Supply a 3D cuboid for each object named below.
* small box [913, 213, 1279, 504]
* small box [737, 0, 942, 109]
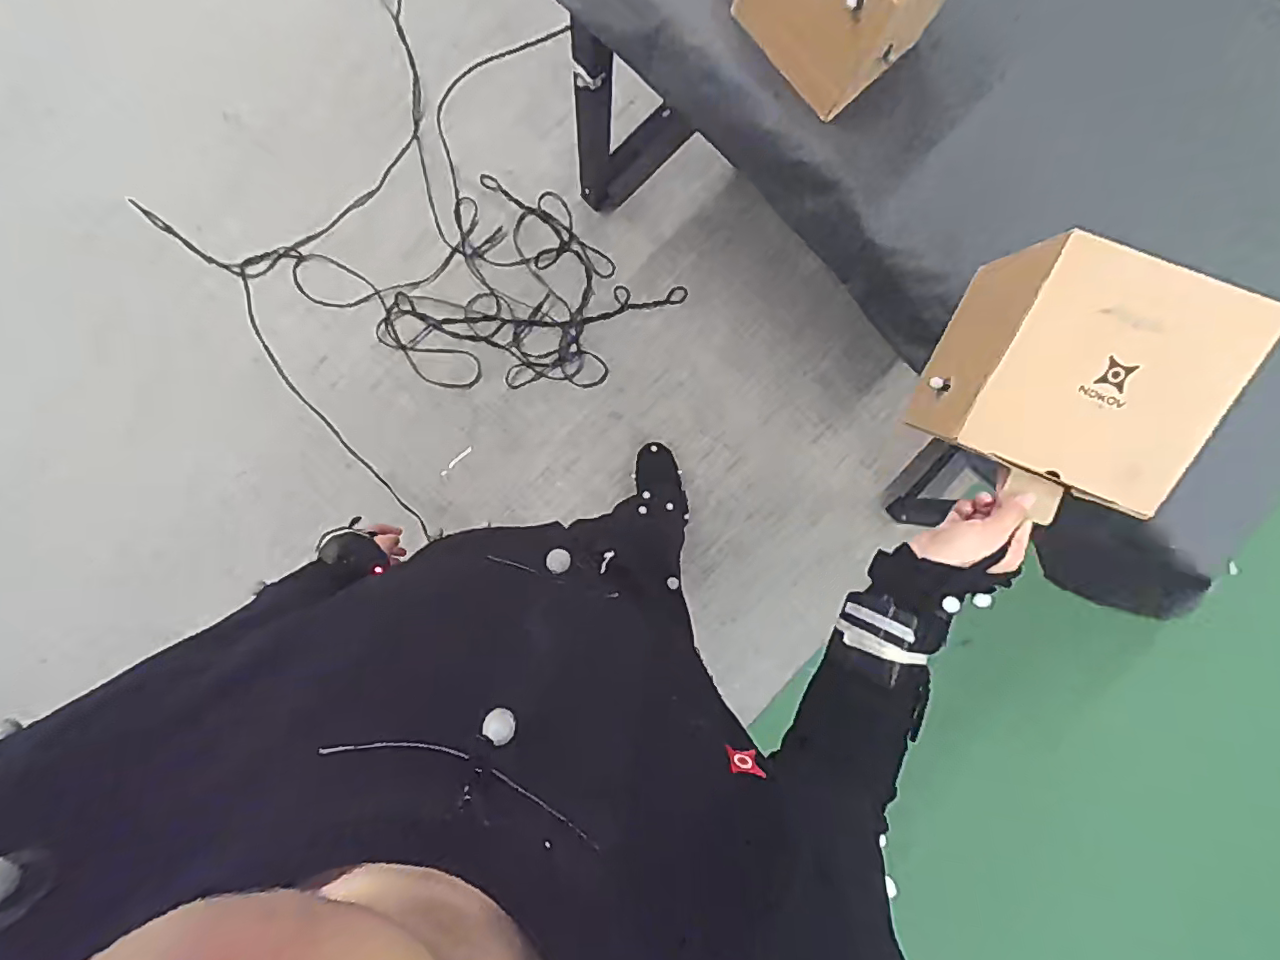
[{"bbox_3d":[0.378,-0.105,0.491,0.168,0.176,0.179,23,104,4],"label":"small box"},{"bbox_3d":[0.230,-0.553,0.571,0.168,0.176,0.179,-43,94,-5],"label":"small box"}]
